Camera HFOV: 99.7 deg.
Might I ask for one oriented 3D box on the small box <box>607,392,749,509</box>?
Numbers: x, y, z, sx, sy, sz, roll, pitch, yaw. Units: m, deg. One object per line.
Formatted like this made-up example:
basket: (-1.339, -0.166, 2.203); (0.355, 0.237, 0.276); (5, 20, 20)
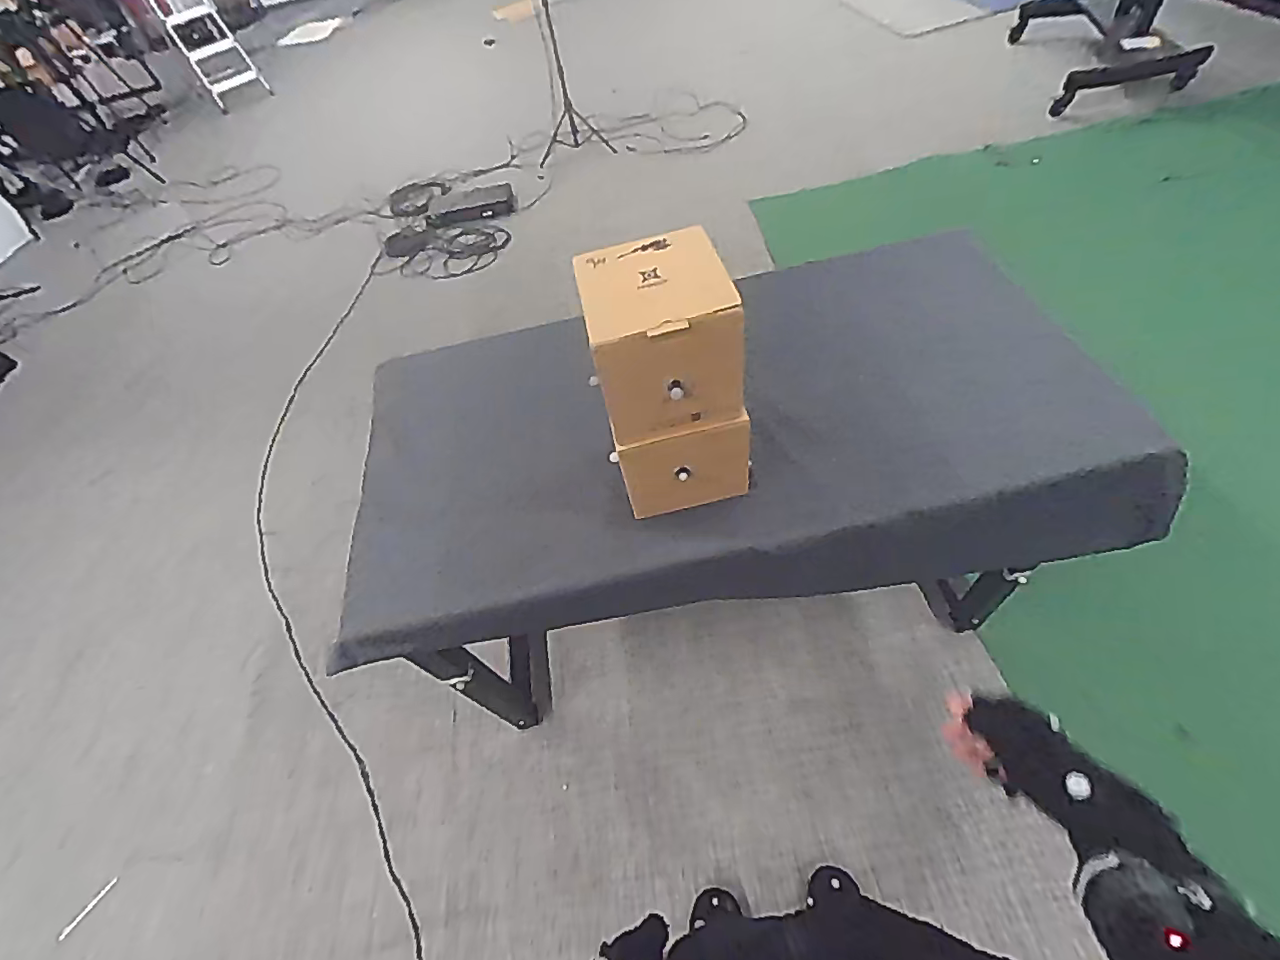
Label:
small box: (0.052, -0.081, 0.796); (0.179, 0.176, 0.168); (-14, 54, 1)

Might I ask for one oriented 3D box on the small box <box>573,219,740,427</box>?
small box: (0.024, -0.184, 0.672); (0.168, 0.176, 0.179); (-13, 54, 0)
